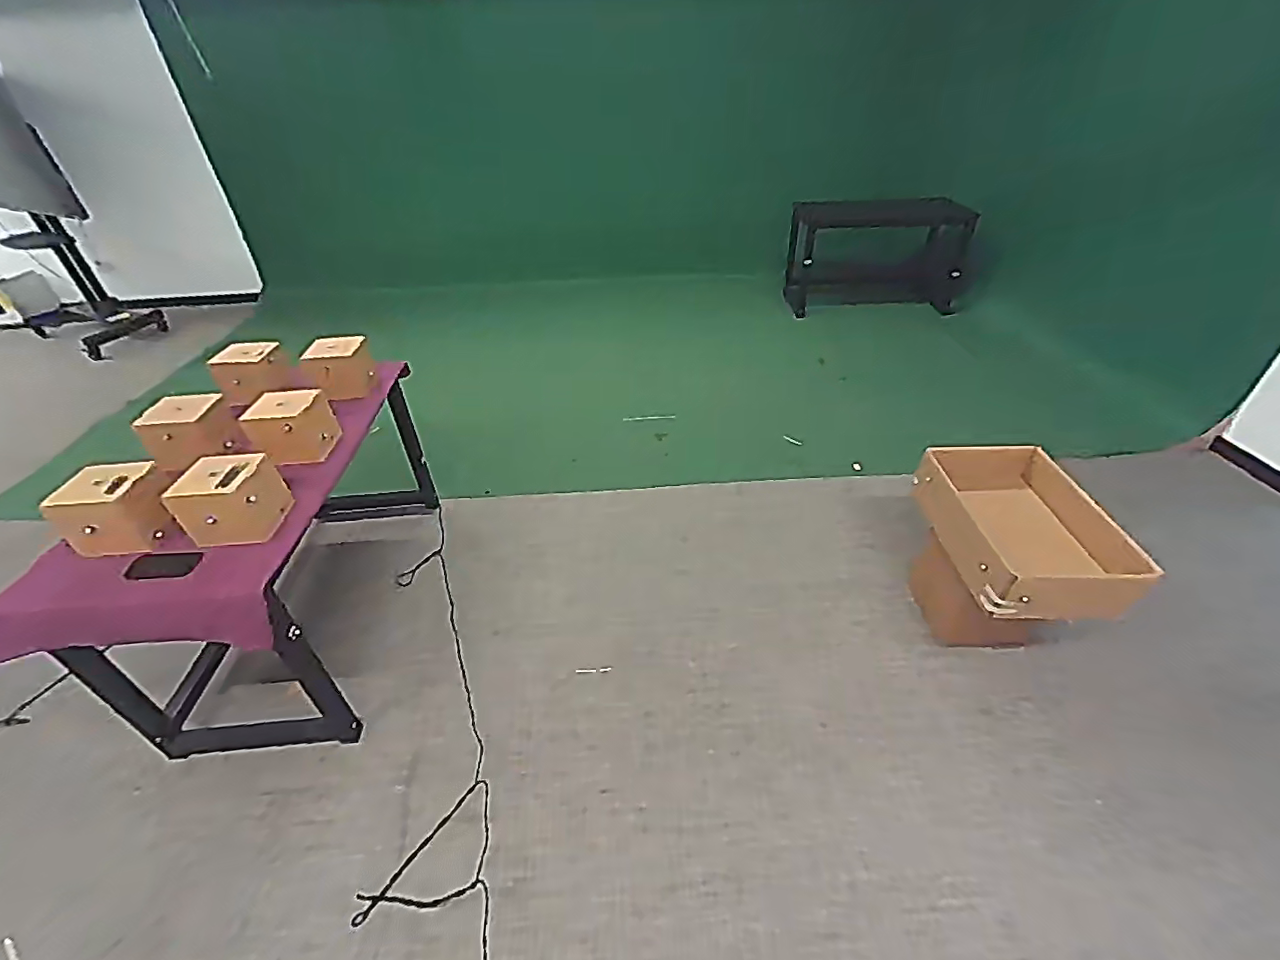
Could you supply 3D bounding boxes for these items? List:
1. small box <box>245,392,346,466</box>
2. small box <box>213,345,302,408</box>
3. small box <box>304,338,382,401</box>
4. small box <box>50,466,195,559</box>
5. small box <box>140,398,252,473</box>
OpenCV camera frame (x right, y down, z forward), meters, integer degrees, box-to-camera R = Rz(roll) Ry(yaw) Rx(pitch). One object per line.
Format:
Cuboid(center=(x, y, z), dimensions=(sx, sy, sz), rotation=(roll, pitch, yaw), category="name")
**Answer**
Cuboid(center=(-1.053, -0.155, 1.669), dimensions=(0.179, 0.176, 0.168), rotation=(-4, 38, 0), category="small box")
Cuboid(center=(-1.387, -0.375, 1.975), dimensions=(0.179, 0.176, 0.168), rotation=(-4, 39, 0), category="small box")
Cuboid(center=(-1.078, -0.402, 1.979), dimensions=(0.179, 0.176, 0.168), rotation=(-5, 40, -3), category="small box")
Cuboid(center=(-1.304, 0.084, 1.383), dimensions=(0.179, 0.176, 0.168), rotation=(-5, 38, -2), category="small box")
Cuboid(center=(-1.360, -0.135, 1.670), dimensions=(0.179, 0.176, 0.168), rotation=(-4, 39, -3), category="small box")
